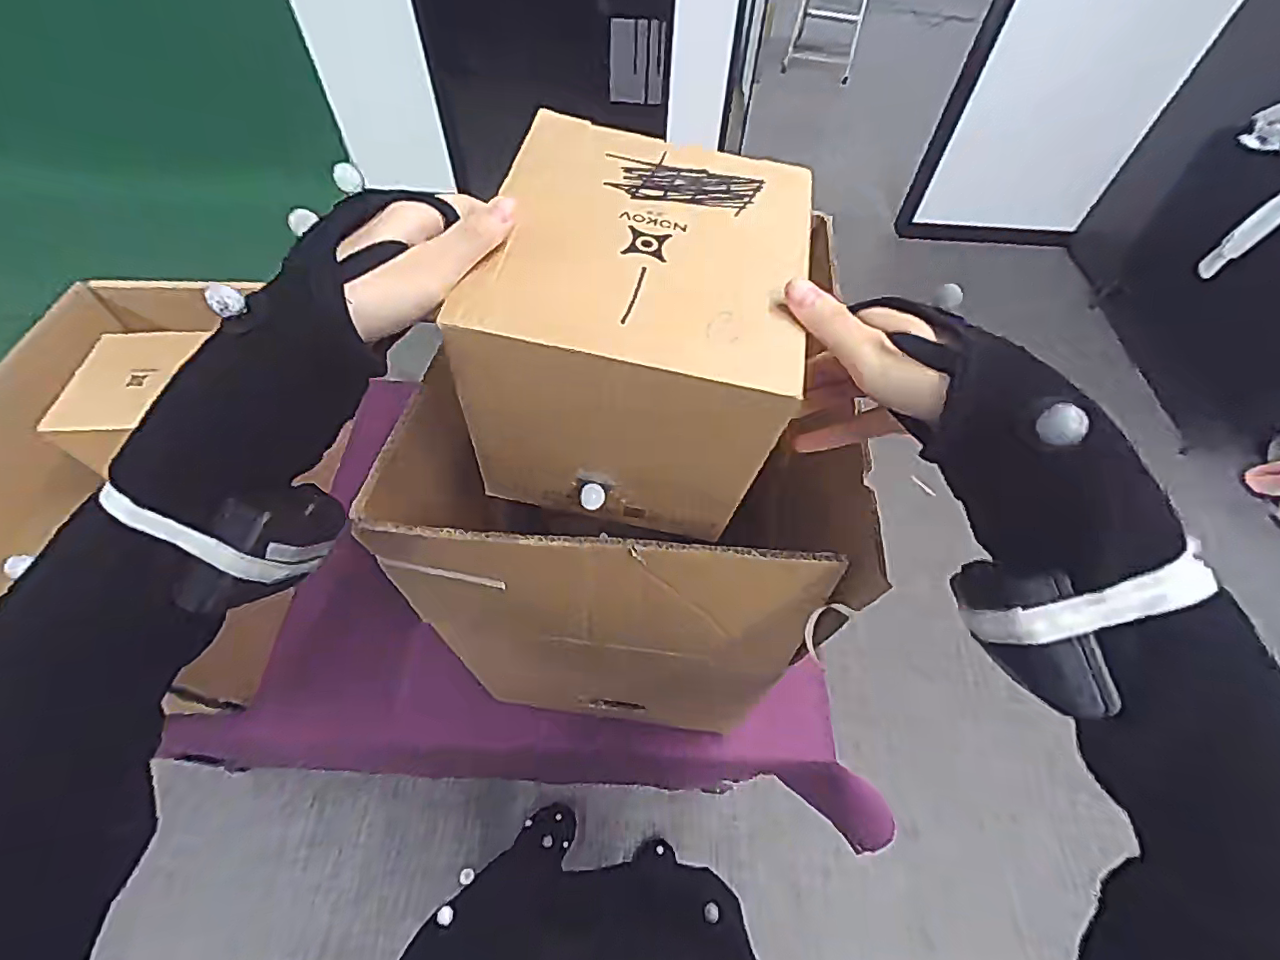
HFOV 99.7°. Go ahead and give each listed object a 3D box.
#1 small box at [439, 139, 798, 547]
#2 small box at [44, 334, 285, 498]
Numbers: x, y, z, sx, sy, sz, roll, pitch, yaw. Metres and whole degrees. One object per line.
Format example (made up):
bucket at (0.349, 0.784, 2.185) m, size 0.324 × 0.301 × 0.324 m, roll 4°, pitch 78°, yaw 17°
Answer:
small box at (-0.006, -0.078, 0.353) m, size 0.168 × 0.176 × 0.179 m, roll 10°, pitch 60°, yaw 1°
small box at (-0.651, -0.084, 0.773) m, size 0.168 × 0.176 × 0.179 m, roll -2°, pitch 56°, yaw -2°
